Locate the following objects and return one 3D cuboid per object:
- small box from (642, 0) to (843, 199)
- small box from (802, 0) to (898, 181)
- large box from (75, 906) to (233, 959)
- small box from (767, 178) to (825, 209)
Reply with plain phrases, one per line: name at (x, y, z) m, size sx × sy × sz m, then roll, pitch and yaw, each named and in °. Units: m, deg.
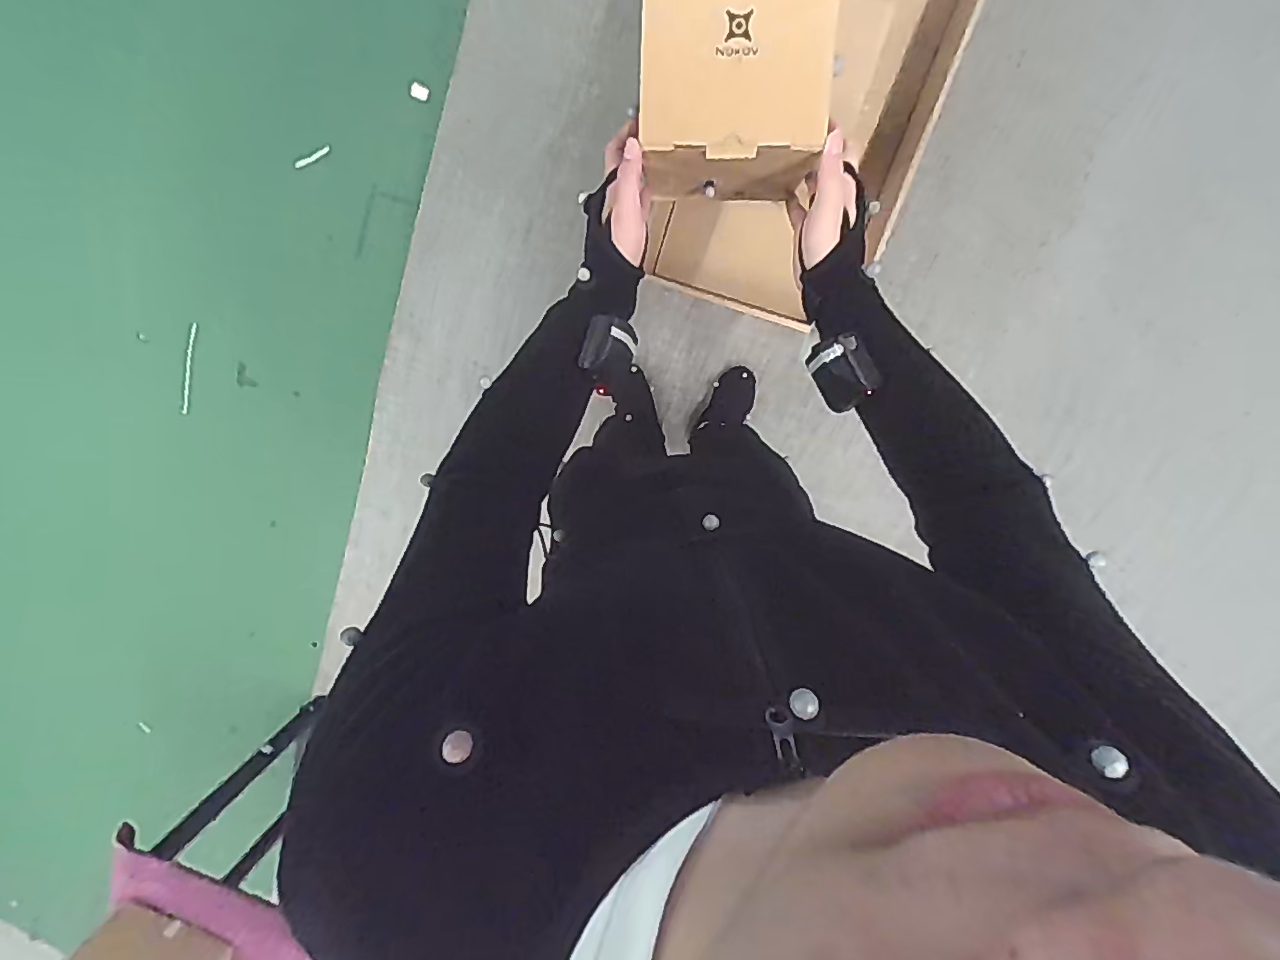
small box at (0.087, -0.391, 0.527) m, size 0.168 × 0.176 × 0.179 m, roll 1°, pitch 105°, yaw 3°
small box at (0.232, -0.556, 0.772) m, size 0.168 × 0.176 × 0.179 m, roll 17°, pitch 105°, yaw 3°
large box at (-1.266, 1.368, 1.309) m, size 0.320 × 0.320 × 0.408 m, roll 22°, pitch 107°, yaw 1°
small box at (0.255, -0.596, 0.930) m, size 0.168 × 0.176 × 0.179 m, roll 20°, pitch 106°, yaw 3°
